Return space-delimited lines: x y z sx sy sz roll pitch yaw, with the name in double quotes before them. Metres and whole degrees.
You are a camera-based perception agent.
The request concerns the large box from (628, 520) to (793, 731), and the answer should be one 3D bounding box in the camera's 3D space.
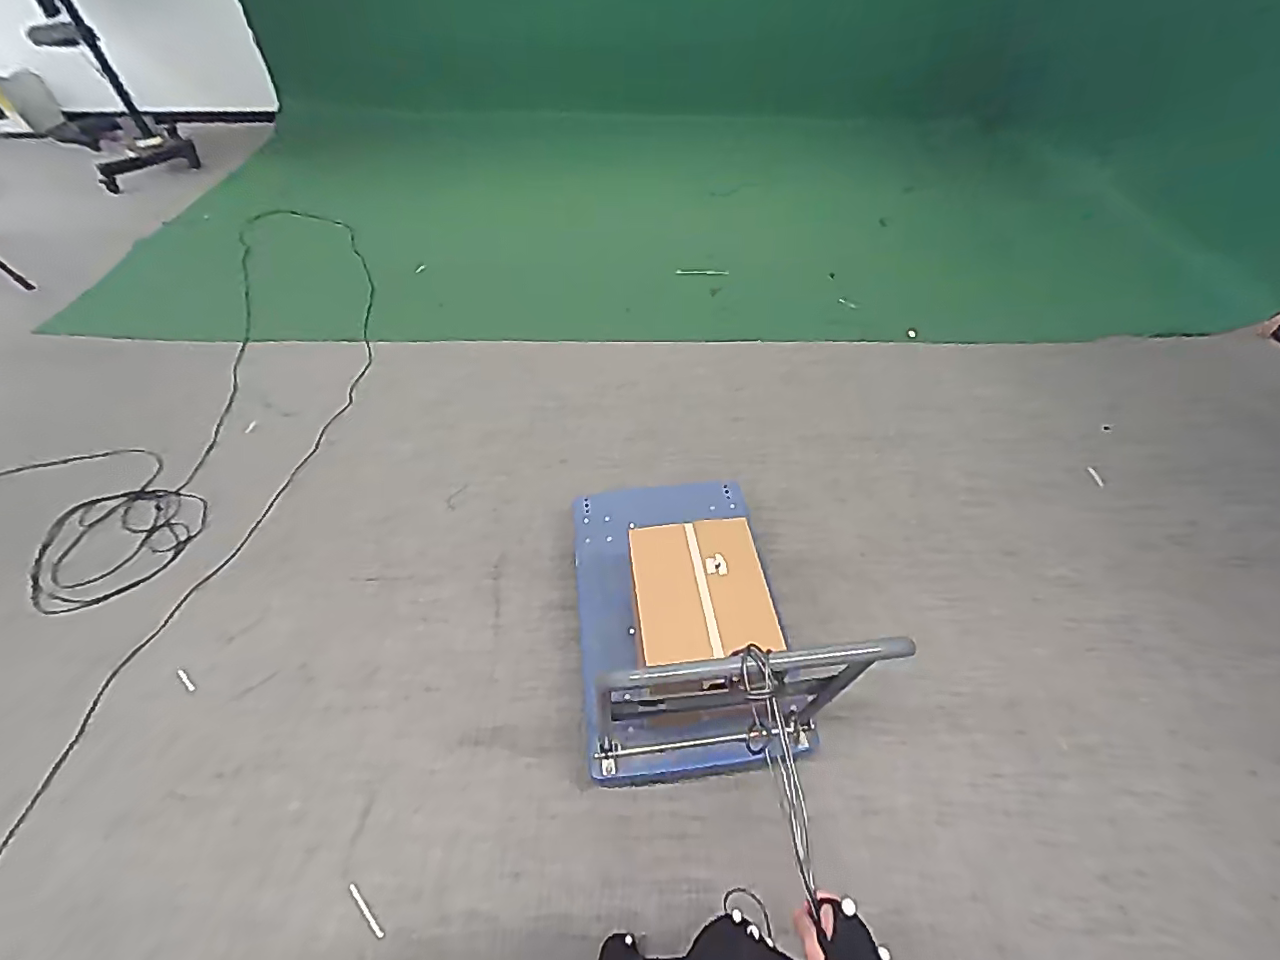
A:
"large box" 0.148 0.364 1.365 0.320 0.320 0.408 -5 49 -6
